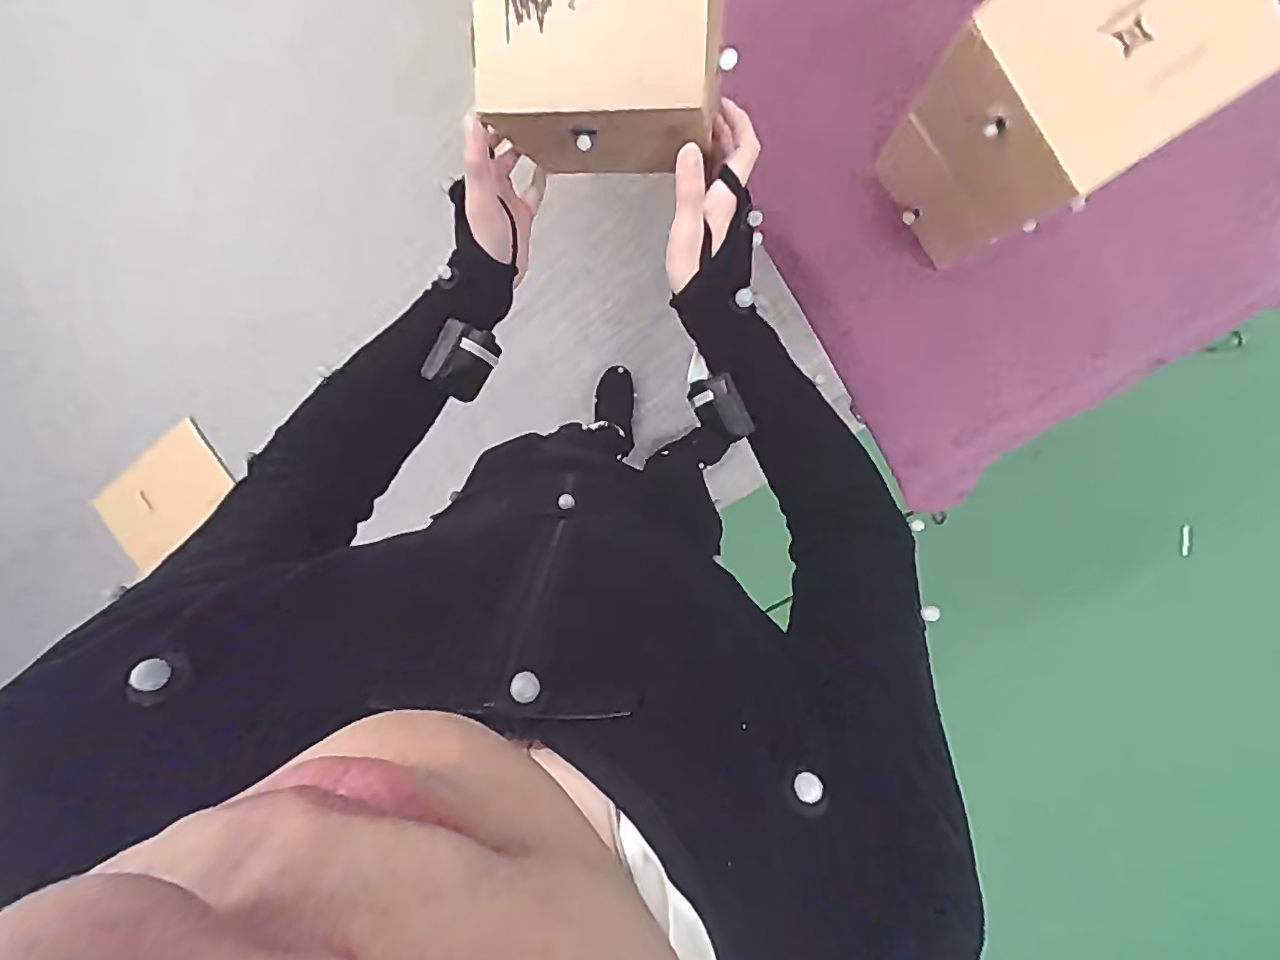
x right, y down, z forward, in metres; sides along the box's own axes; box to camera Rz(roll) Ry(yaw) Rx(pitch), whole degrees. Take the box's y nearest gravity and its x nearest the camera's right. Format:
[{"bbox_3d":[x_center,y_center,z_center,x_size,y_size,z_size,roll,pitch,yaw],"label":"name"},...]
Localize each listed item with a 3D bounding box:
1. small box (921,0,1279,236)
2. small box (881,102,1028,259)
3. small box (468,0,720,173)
[{"bbox_3d":[0.395,-0.362,0.498,0.168,0.176,0.179,-32,93,16],"label":"small box"},{"bbox_3d":[0.426,-0.392,0.656,0.168,0.176,0.179,-34,93,15],"label":"small box"},{"bbox_3d":[-0.028,-0.372,0.458,0.179,0.176,0.168,4,107,9],"label":"small box"}]
